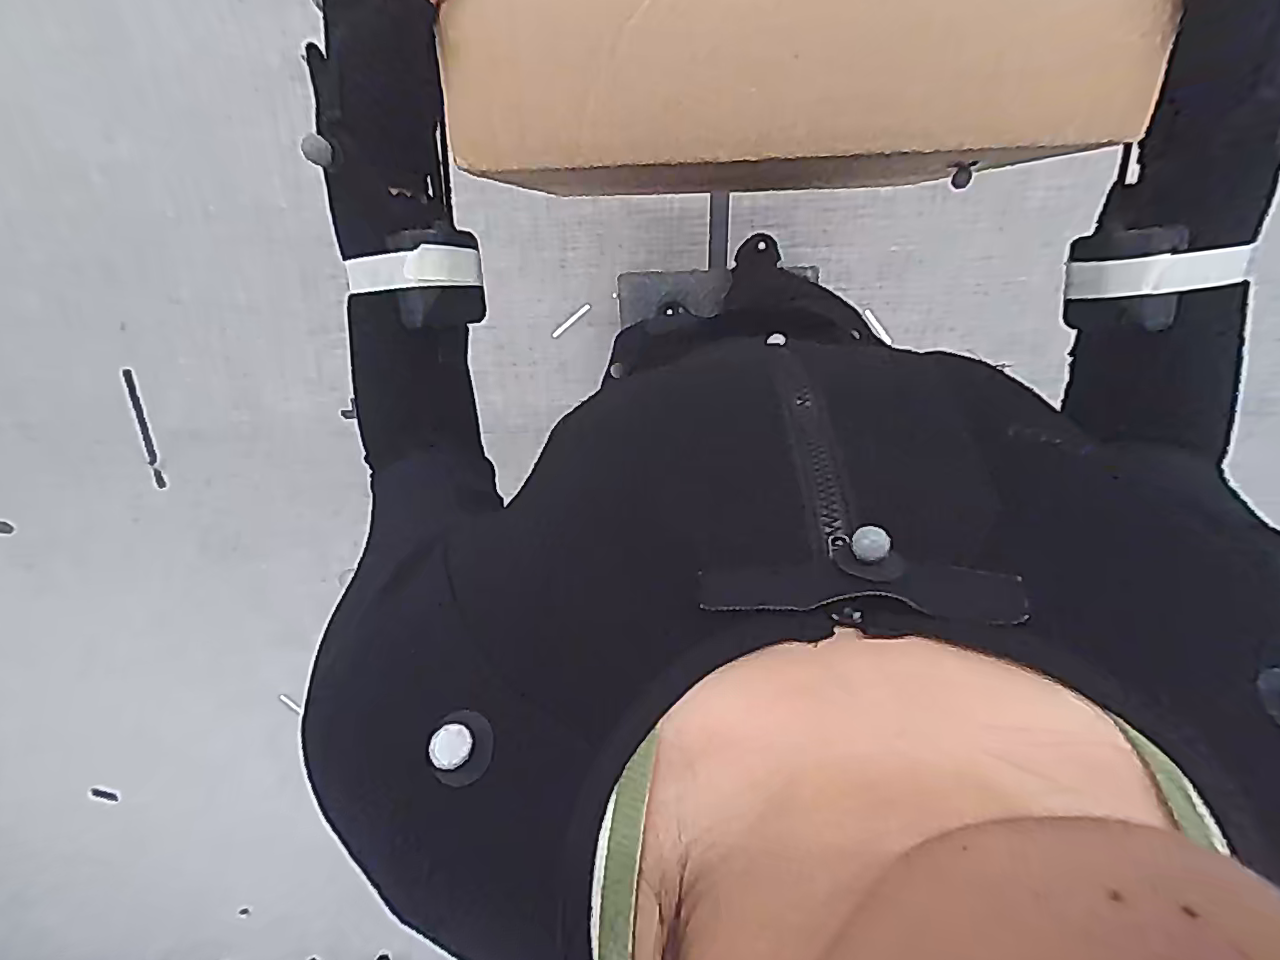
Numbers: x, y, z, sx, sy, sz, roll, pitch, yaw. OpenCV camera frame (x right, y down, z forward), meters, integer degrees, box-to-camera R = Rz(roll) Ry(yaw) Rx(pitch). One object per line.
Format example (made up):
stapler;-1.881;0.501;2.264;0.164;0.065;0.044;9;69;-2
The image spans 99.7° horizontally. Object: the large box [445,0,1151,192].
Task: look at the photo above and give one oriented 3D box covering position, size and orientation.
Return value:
large box;0.090;-0.405;0.407;0.408;0.320;0.320;-1;115;4
